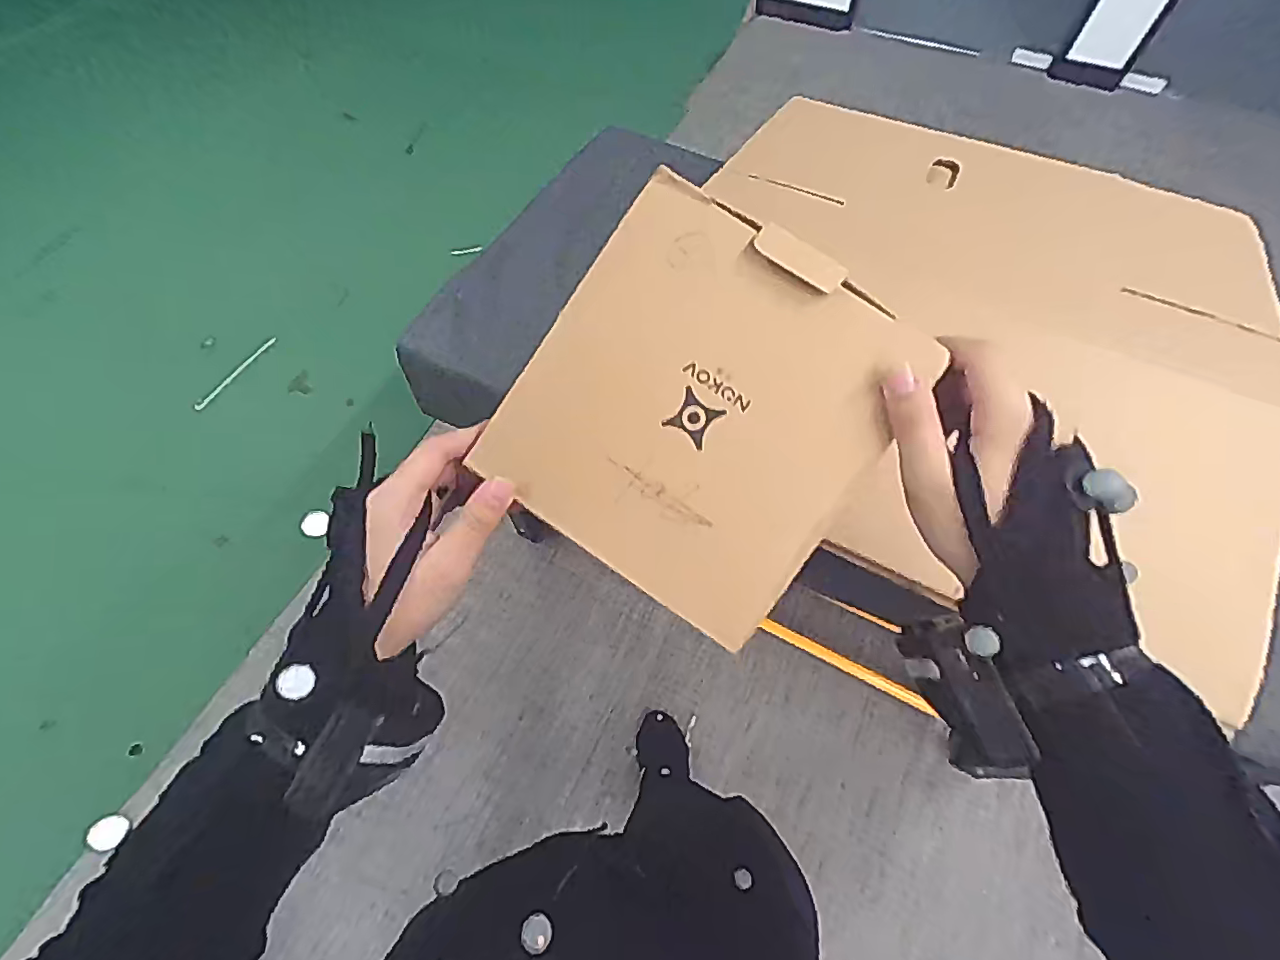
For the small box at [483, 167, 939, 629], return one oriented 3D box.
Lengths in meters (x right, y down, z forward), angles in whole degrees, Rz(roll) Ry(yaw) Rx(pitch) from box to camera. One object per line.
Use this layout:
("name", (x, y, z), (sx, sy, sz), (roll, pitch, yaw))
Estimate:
("small box", (0.038, -0.043, 0.348), (0.168, 0.176, 0.179), (34, 95, 4))
